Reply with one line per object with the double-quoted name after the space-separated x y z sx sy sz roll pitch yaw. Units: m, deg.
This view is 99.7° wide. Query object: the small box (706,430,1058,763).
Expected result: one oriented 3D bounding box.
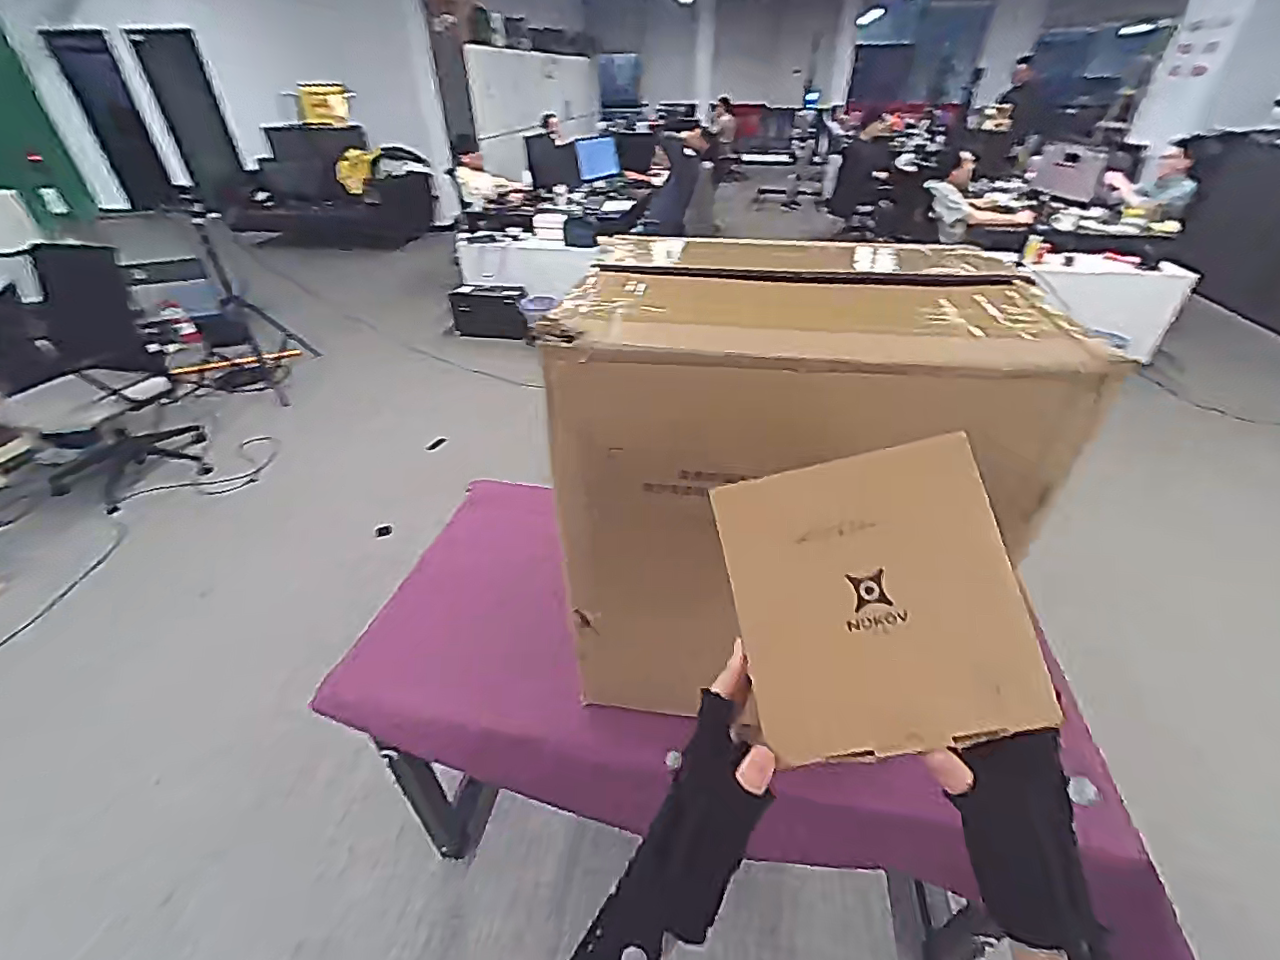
0.152 0.083 0.407 0.168 0.176 0.179 -14 76 6 "small box"
